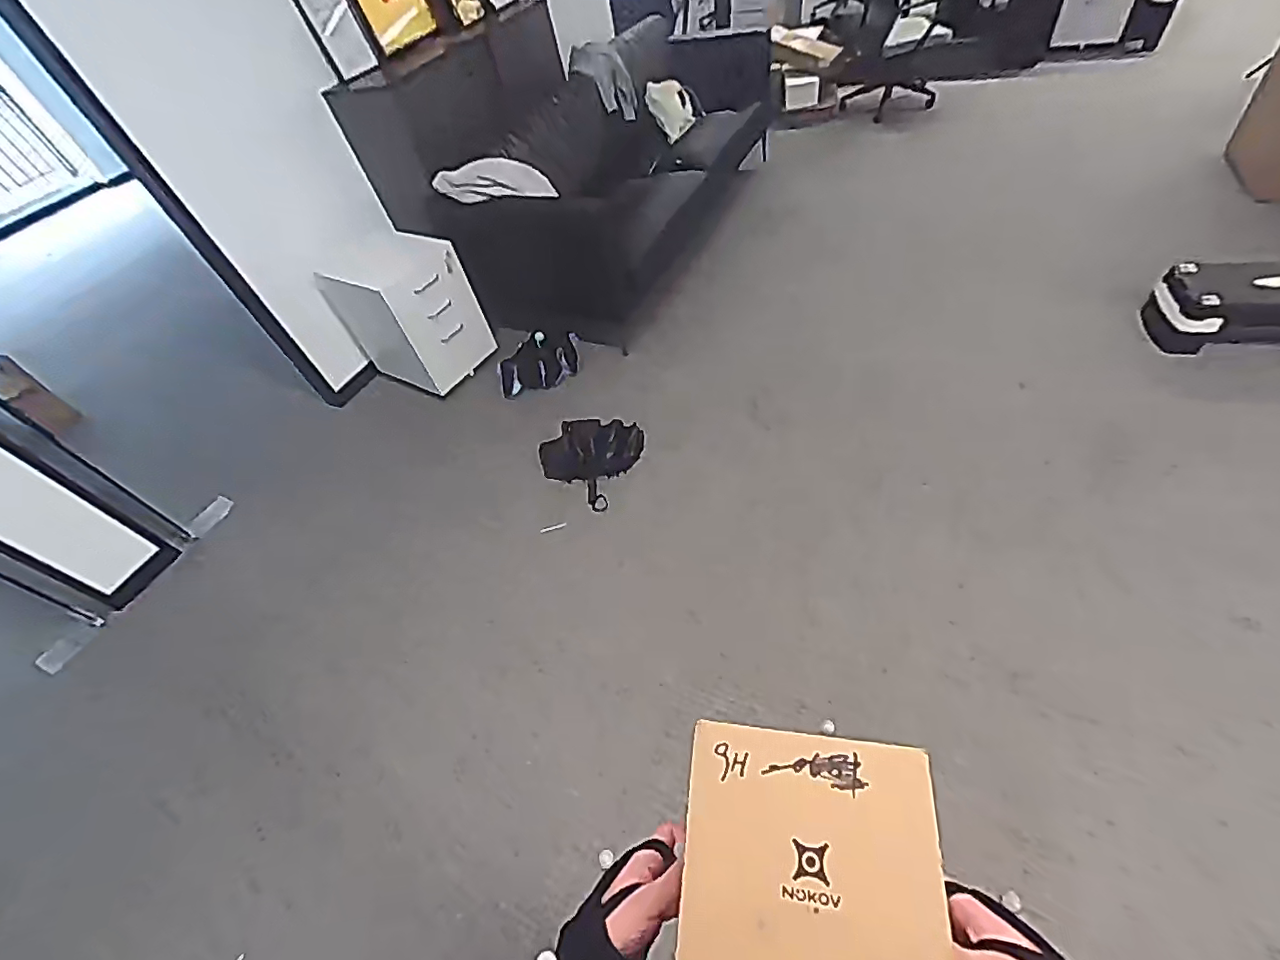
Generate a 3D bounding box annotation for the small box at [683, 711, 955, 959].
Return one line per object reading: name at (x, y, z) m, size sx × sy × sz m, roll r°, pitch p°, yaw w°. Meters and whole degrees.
small box at (0.127, 0.297, 0.427) m, size 0.168 × 0.176 × 0.179 m, roll 3°, pitch 59°, yaw 10°
